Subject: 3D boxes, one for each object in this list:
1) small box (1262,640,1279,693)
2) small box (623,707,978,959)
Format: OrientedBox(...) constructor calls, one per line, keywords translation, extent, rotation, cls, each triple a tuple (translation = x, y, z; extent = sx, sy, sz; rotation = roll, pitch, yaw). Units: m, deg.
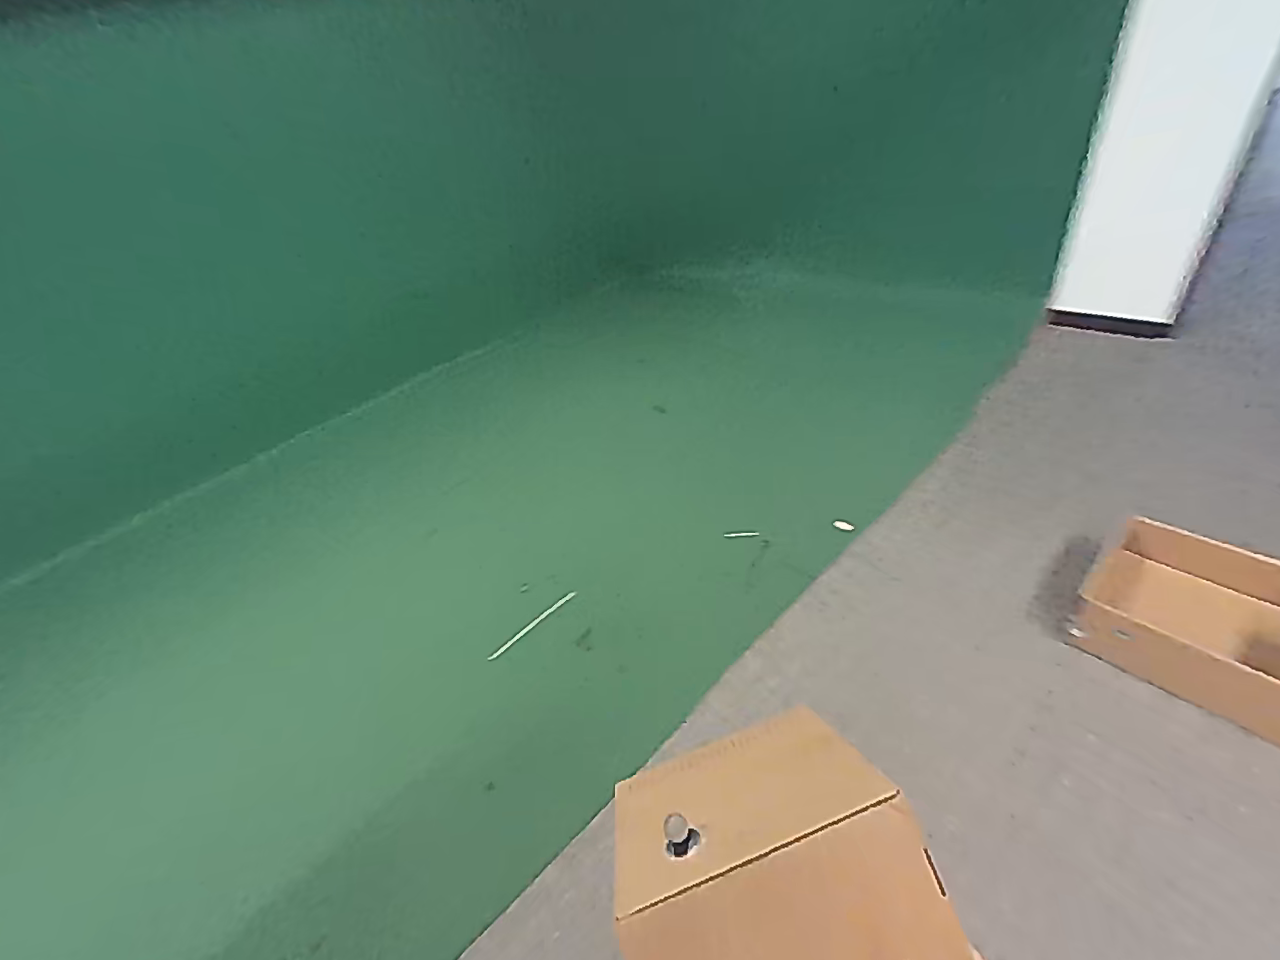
OrientedBox(translation=(1.577, 0.420, 1.223), extent=(0.179, 0.176, 0.168), rotation=(-35, 43, -24), cls="small box")
OrientedBox(translation=(0.097, 0.285, 0.370), extent=(0.179, 0.168, 0.176), rotation=(-20, -4, -3), cls="small box")
